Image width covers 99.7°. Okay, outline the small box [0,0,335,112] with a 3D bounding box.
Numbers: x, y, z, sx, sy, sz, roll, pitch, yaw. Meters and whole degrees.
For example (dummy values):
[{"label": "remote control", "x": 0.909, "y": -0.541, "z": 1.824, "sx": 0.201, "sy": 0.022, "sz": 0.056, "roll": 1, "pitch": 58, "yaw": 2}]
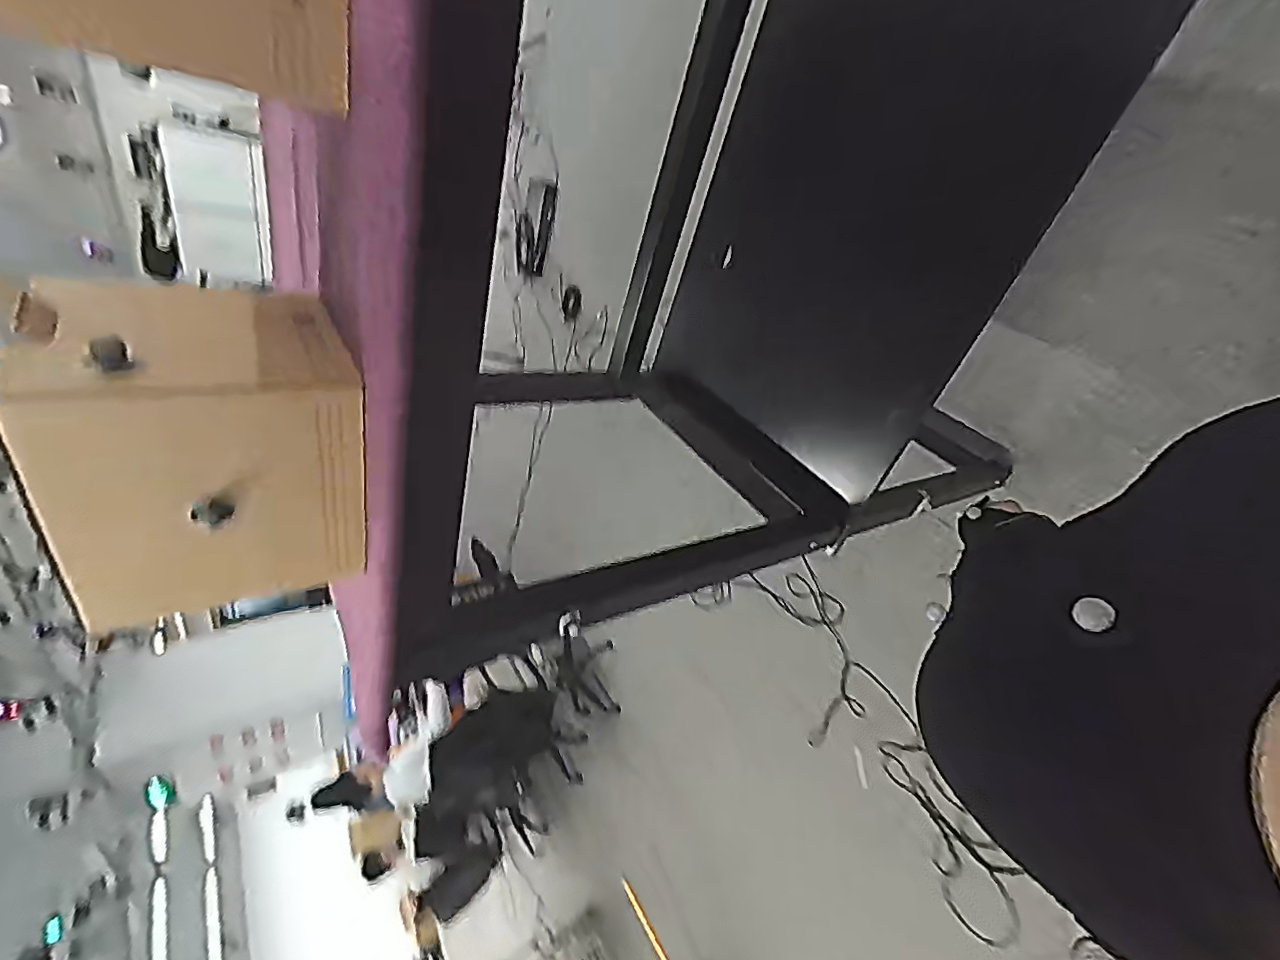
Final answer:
[{"label": "small box", "x": -0.243, "y": -0.297, "z": 0.249, "sx": 0.179, "sy": 0.176, "sz": 0.168, "roll": 51, "pitch": 133, "yaw": 36}]
